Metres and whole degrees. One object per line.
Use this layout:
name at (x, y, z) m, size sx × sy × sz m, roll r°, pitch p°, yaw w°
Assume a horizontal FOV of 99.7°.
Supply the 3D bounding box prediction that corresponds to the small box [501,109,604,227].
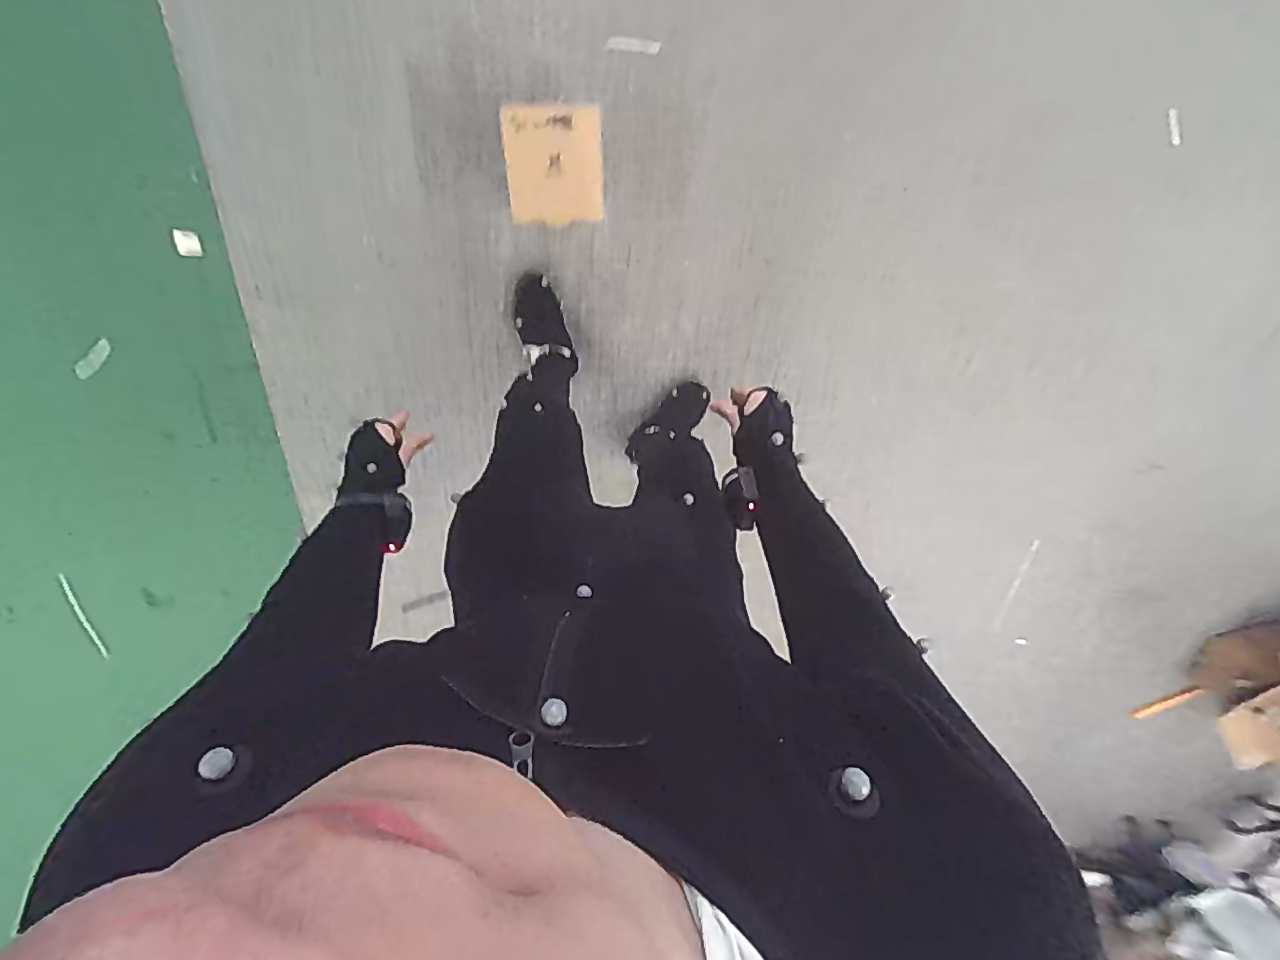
small box at (-0.158, -0.574, 0.998) m, size 0.168 × 0.176 × 0.179 m, roll -6°, pitch 120°, yaw -8°
